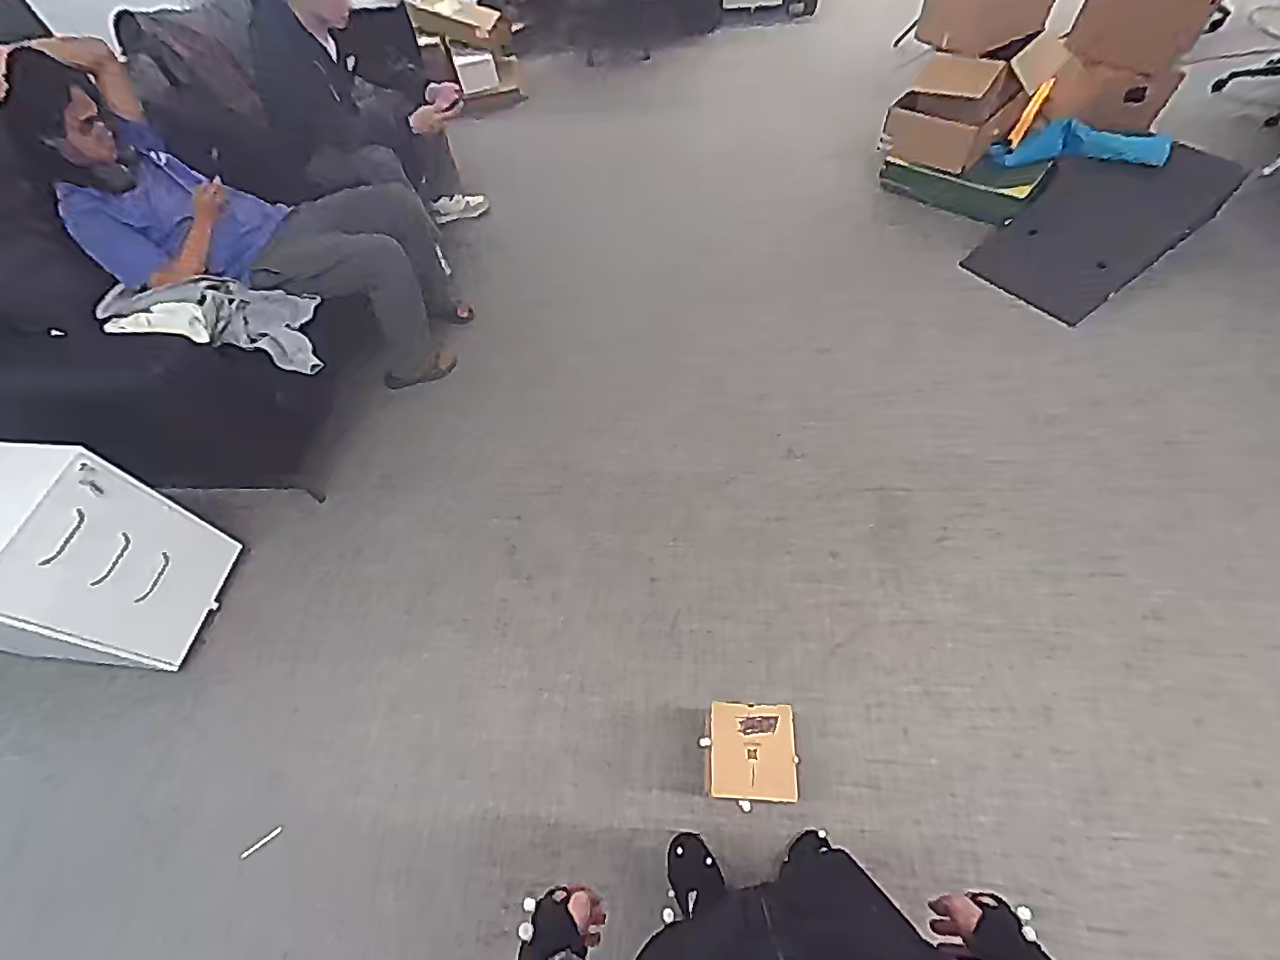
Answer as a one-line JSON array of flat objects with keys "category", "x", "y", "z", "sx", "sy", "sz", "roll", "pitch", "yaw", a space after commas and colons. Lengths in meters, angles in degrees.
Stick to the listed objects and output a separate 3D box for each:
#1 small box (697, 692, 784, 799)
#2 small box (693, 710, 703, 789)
[{"category": "small box", "x": 0.210, "y": 0.565, "z": 1.146, "sx": 0.168, "sy": 0.176, "sz": 0.179, "roll": 3, "pitch": 58, "yaw": 8}, {"category": "small box", "x": 0.220, "y": 0.657, "z": 1.308, "sx": 0.179, "sy": 0.176, "sz": 0.168, "roll": 0, "pitch": 59, "yaw": 4}]
